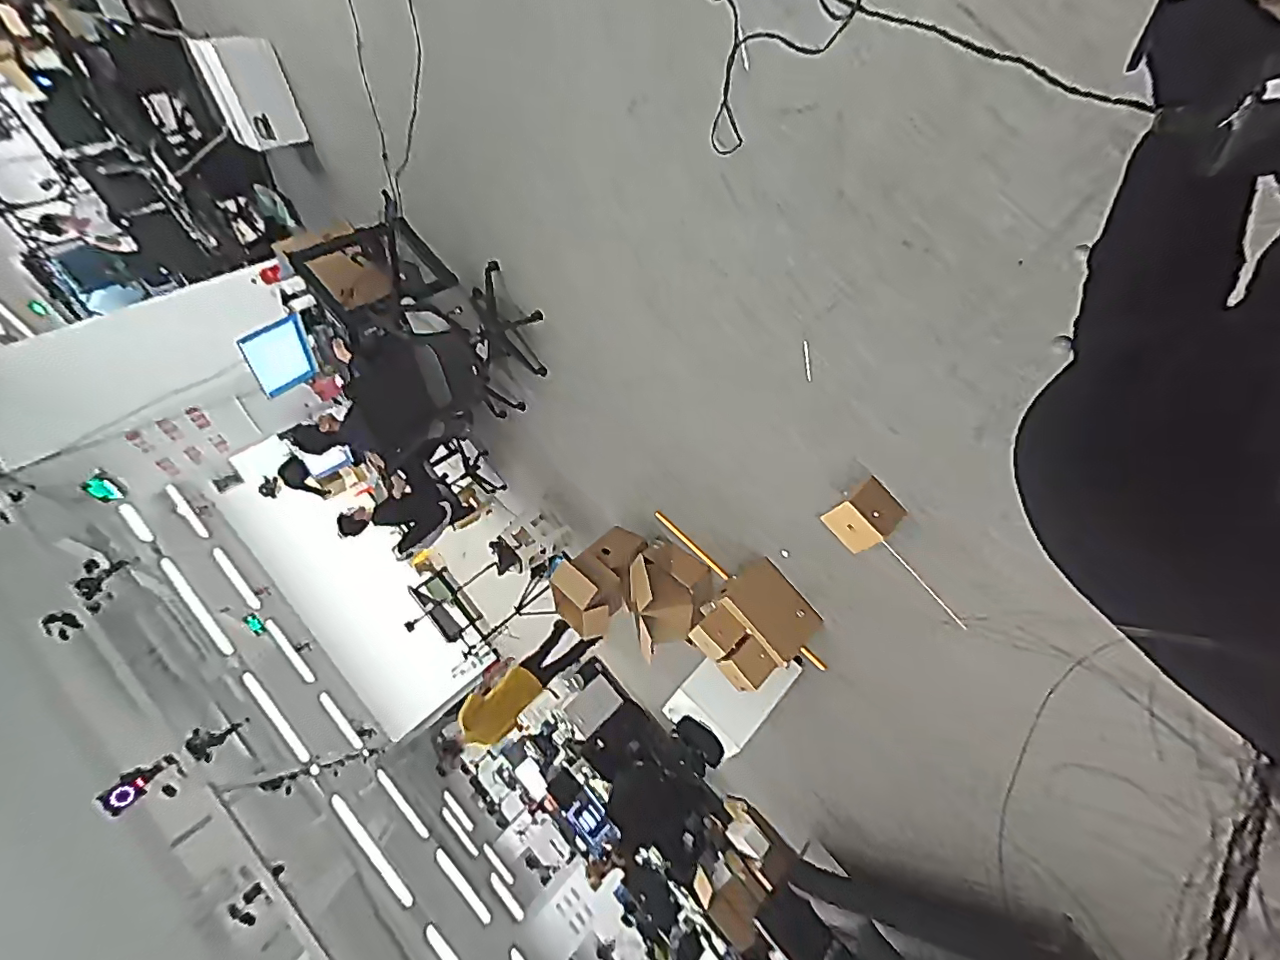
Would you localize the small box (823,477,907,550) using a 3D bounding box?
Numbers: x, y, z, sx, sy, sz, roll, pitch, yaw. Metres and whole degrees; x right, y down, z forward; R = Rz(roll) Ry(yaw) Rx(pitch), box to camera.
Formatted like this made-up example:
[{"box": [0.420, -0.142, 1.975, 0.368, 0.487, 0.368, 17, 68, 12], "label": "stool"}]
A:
[{"box": [0.791, 0.110, 1.897, 0.179, 0.176, 0.168, 47, 151, 7], "label": "small box"}]
